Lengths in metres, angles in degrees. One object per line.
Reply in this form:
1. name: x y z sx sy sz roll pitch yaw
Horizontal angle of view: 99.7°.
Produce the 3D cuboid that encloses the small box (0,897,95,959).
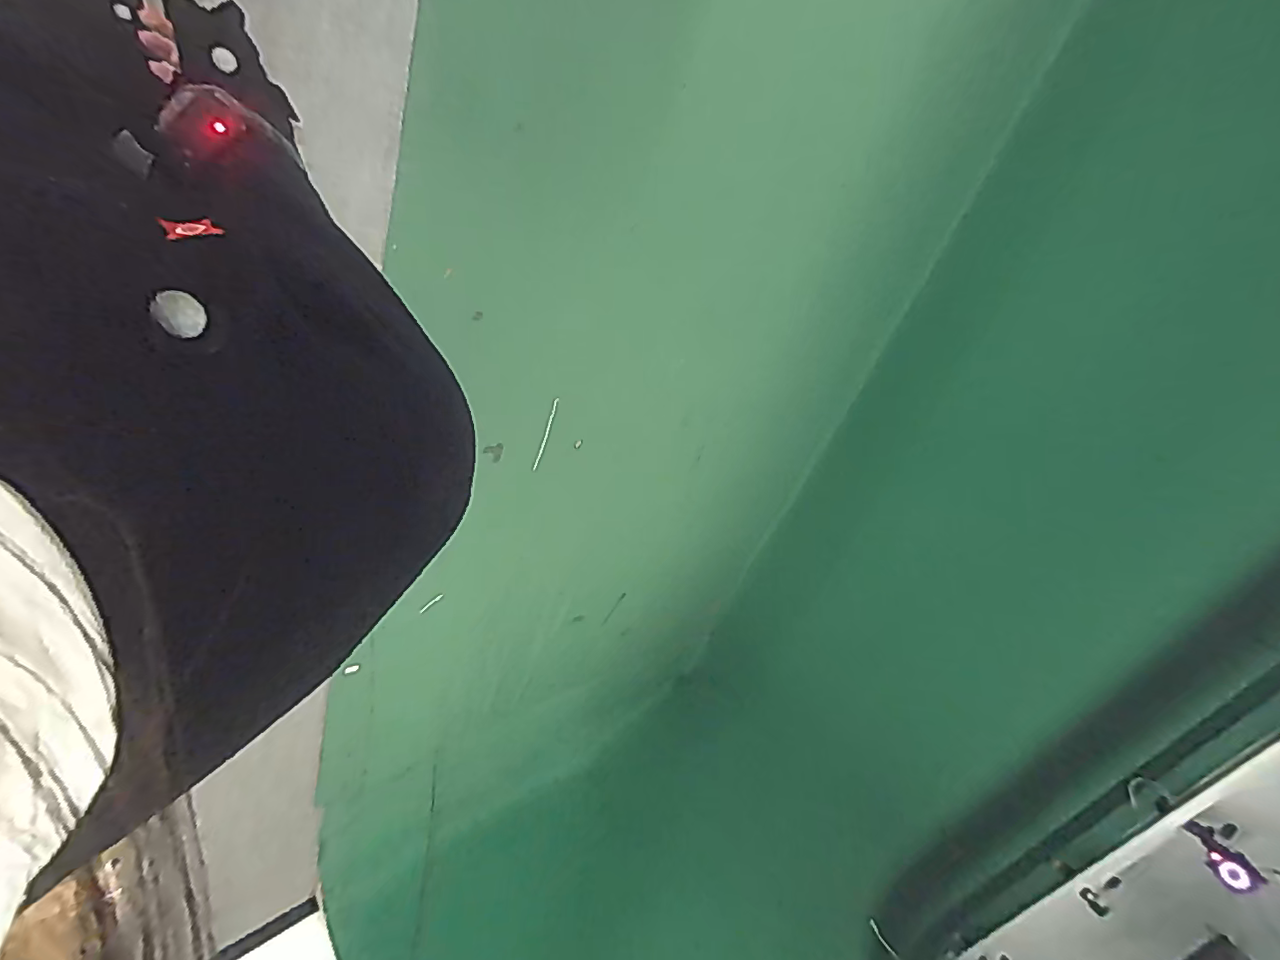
1. small box: -1.554 1.253 1.406 0.179 0.176 0.168 -10 126 -43
